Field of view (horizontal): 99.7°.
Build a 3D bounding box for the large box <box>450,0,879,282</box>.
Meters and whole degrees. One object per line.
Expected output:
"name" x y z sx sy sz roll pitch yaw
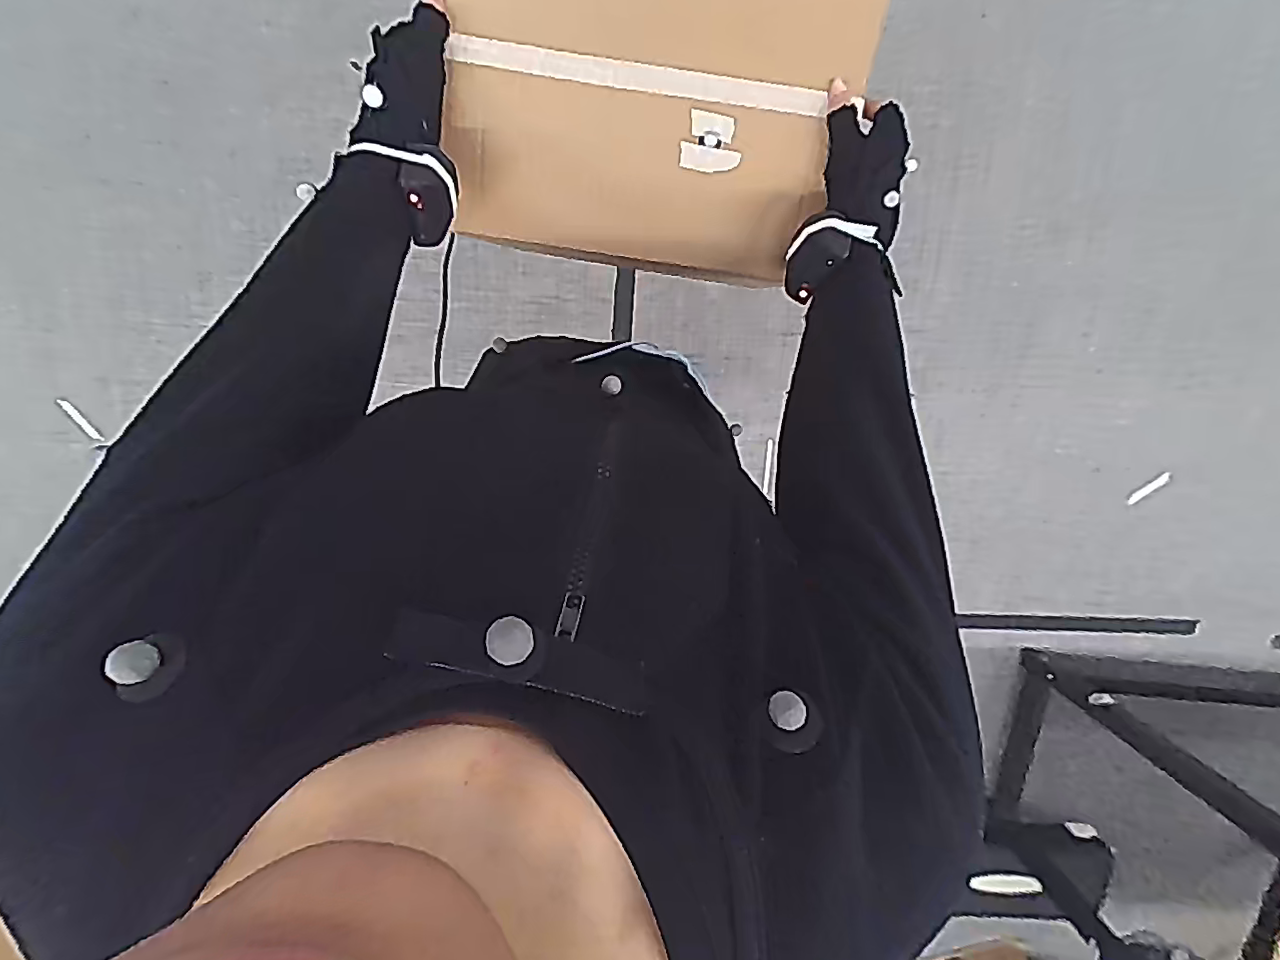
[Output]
"large box" 0.014 -0.431 0.666 0.408 0.320 0.320 7 110 -2
